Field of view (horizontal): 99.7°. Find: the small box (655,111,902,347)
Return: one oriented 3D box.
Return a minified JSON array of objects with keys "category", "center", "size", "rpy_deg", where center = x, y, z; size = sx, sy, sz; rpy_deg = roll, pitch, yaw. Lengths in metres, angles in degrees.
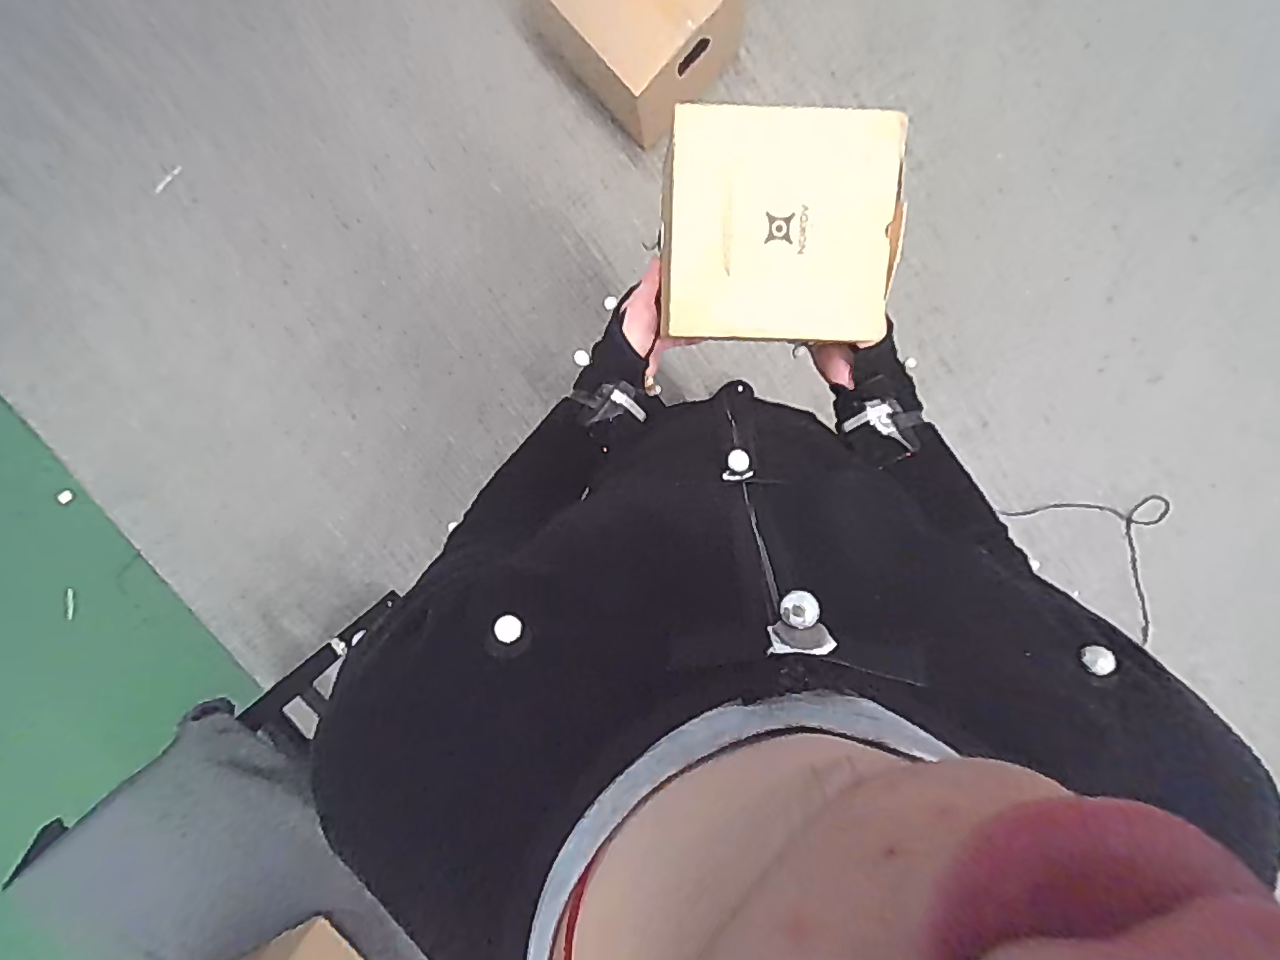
[{"category":"small box","center":[0.107,-0.210,0.497],"size":[0.179,0.176,0.168],"rpy_deg":[0,103,-1]}]
